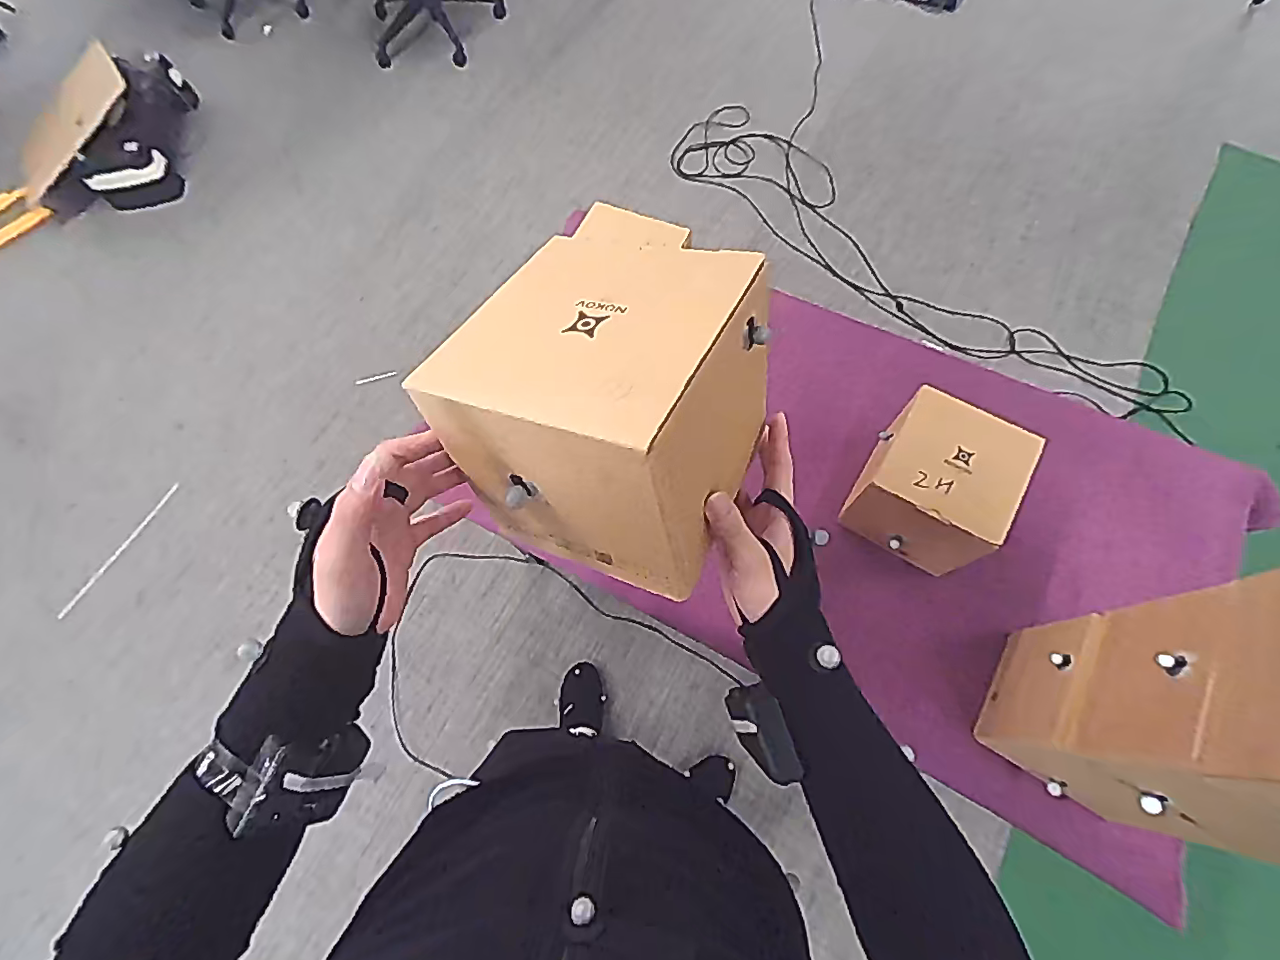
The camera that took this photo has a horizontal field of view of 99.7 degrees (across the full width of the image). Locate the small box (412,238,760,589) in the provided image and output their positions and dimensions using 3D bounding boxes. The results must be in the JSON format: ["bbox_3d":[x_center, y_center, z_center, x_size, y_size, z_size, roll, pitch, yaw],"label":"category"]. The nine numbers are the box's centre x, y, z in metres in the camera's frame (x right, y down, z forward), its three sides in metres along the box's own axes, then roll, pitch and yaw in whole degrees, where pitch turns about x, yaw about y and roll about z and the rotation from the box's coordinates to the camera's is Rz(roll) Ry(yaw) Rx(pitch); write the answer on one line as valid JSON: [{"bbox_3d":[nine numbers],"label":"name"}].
[{"bbox_3d":[-0.016,-0.048,0.394,0.168,0.176,0.179,17,57,24],"label":"small box"}]

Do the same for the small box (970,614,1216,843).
[{"bbox_3d":[0.550,0.287,0.654,0.179,0.176,0.168,30,72,14],"label":"small box"}]

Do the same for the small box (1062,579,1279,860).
[{"bbox_3d":[0.546,0.223,0.504,0.168,0.176,0.179,30,72,16],"label":"small box"}]

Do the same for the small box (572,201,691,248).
[{"bbox_3d":[-0.025,-0.334,0.931,0.179,0.176,0.168,23,71,12],"label":"small box"}]

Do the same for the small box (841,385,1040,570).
[{"bbox_3d":[0.414,0.004,0.776,0.168,0.176,0.179,31,73,15],"label":"small box"}]
